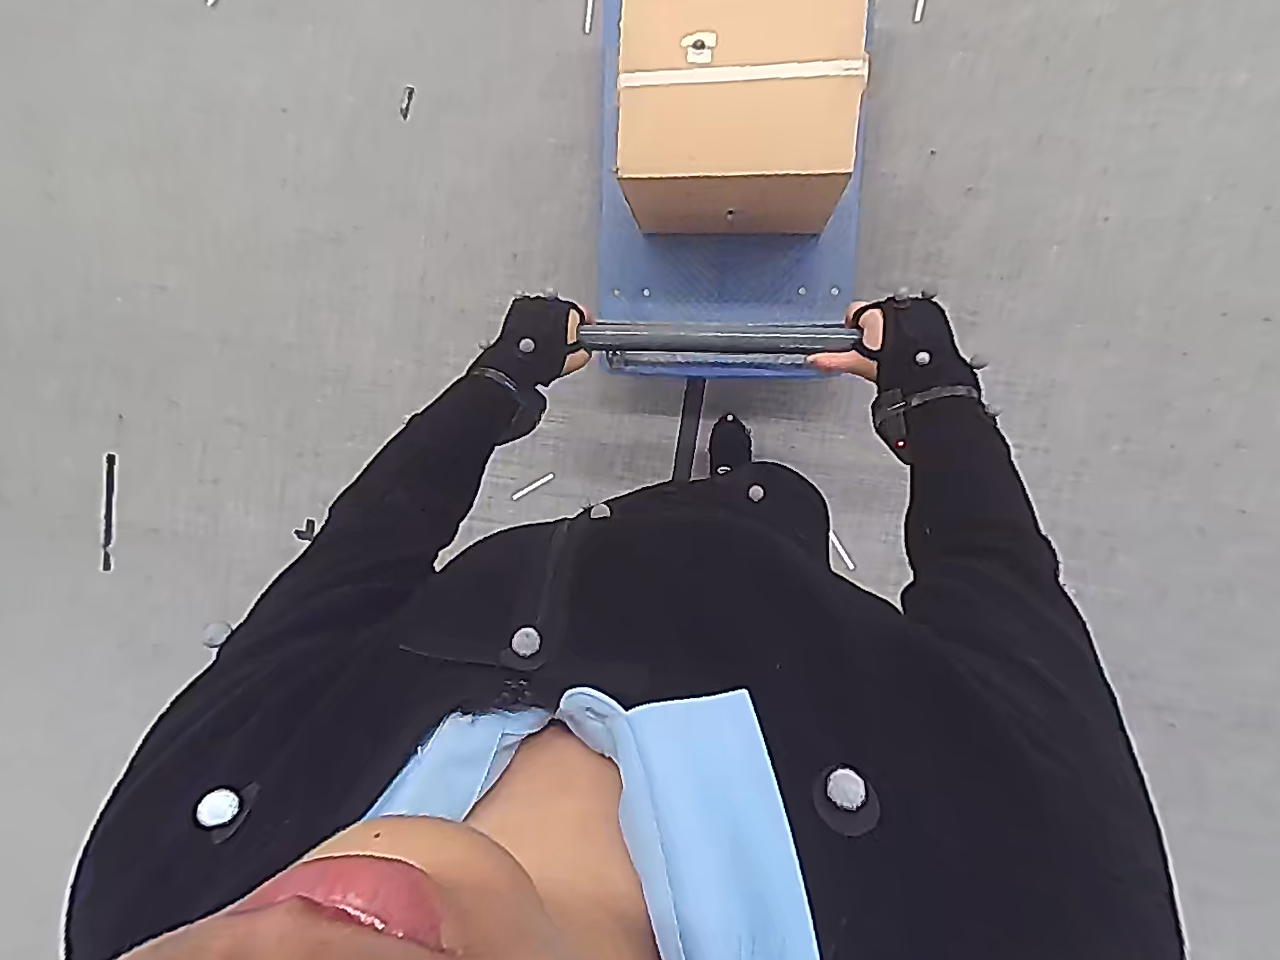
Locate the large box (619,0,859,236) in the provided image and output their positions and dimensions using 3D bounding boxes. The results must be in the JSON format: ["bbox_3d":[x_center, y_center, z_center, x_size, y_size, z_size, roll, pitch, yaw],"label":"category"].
[{"bbox_3d":[0.188,-0.695,1.077,0.408,0.320,0.320,3,97,9],"label":"large box"}]
